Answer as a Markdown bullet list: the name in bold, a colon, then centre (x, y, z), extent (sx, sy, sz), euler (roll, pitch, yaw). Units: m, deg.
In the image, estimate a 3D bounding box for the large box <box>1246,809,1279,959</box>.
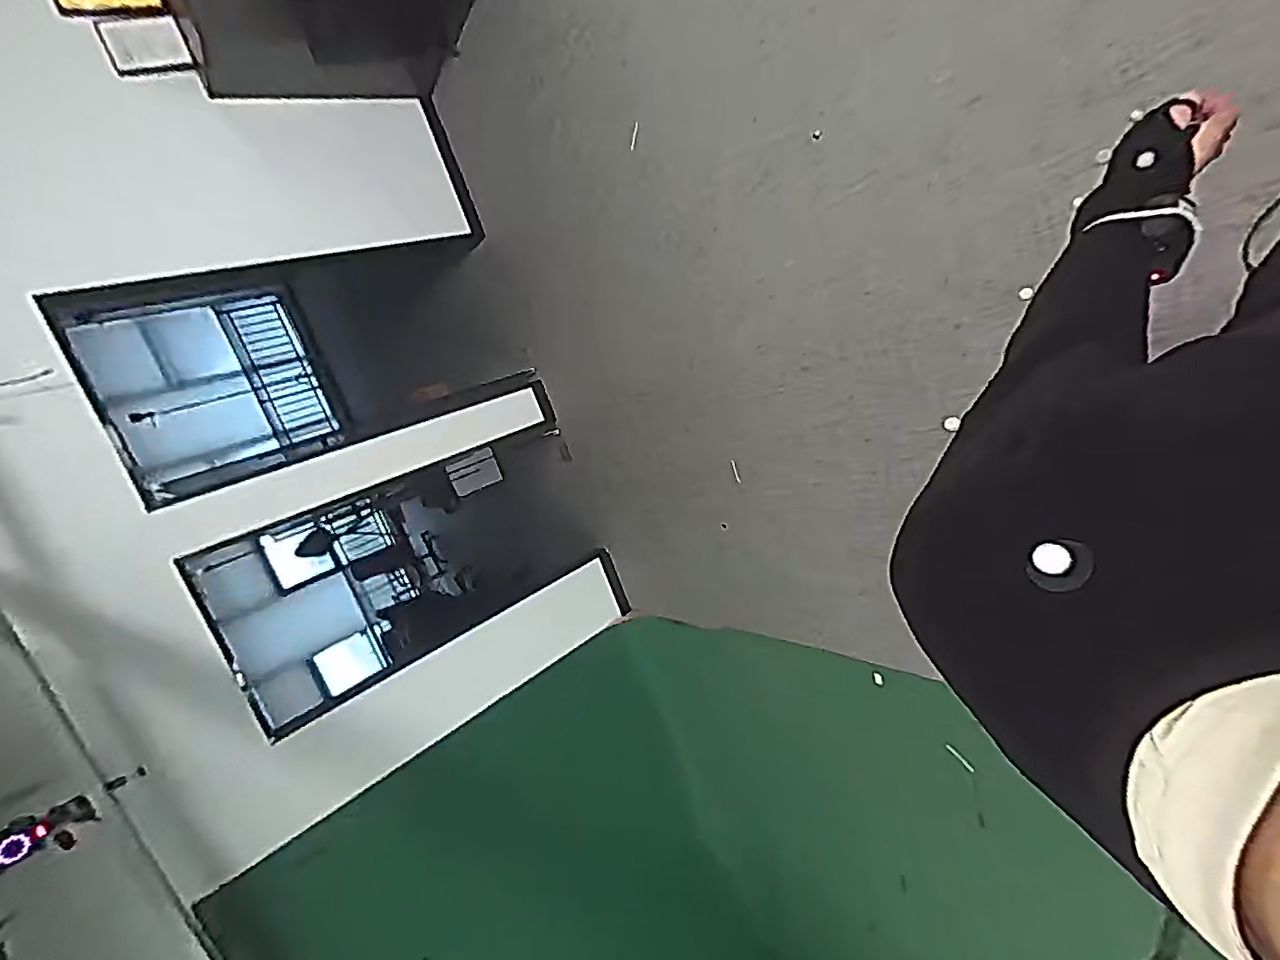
- **large box**: centre (1.452, 0.900, 0.991), extent (0.408, 0.320, 0.320), euler (59, 146, 6)
